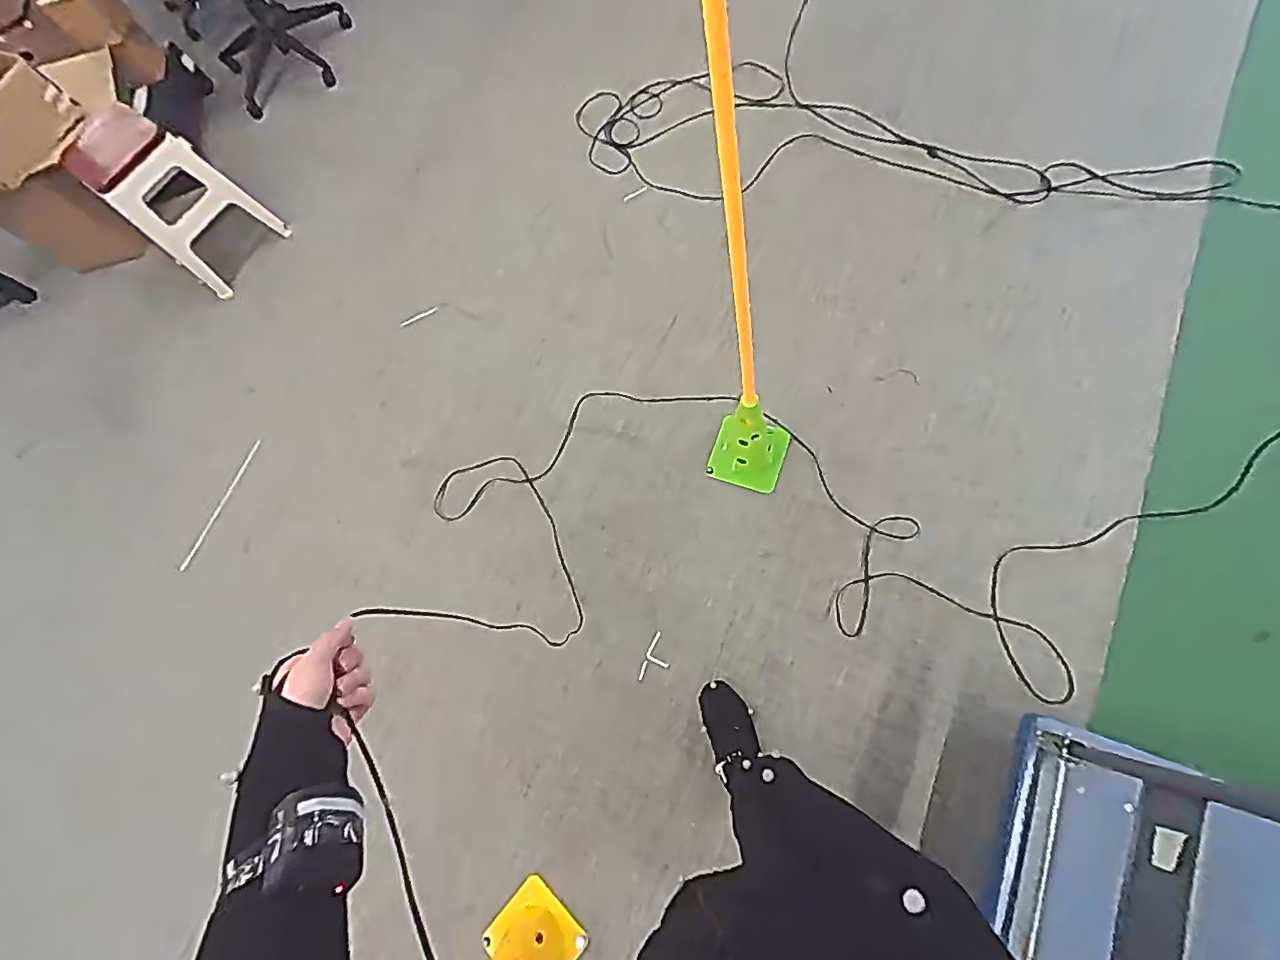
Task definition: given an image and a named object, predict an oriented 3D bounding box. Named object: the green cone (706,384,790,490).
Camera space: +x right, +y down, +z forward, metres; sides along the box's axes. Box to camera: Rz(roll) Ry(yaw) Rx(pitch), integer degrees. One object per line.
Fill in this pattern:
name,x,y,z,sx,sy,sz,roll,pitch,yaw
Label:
green cone,0.281,-0.138,1.379,0.200,0.368,0.202,17,75,15
